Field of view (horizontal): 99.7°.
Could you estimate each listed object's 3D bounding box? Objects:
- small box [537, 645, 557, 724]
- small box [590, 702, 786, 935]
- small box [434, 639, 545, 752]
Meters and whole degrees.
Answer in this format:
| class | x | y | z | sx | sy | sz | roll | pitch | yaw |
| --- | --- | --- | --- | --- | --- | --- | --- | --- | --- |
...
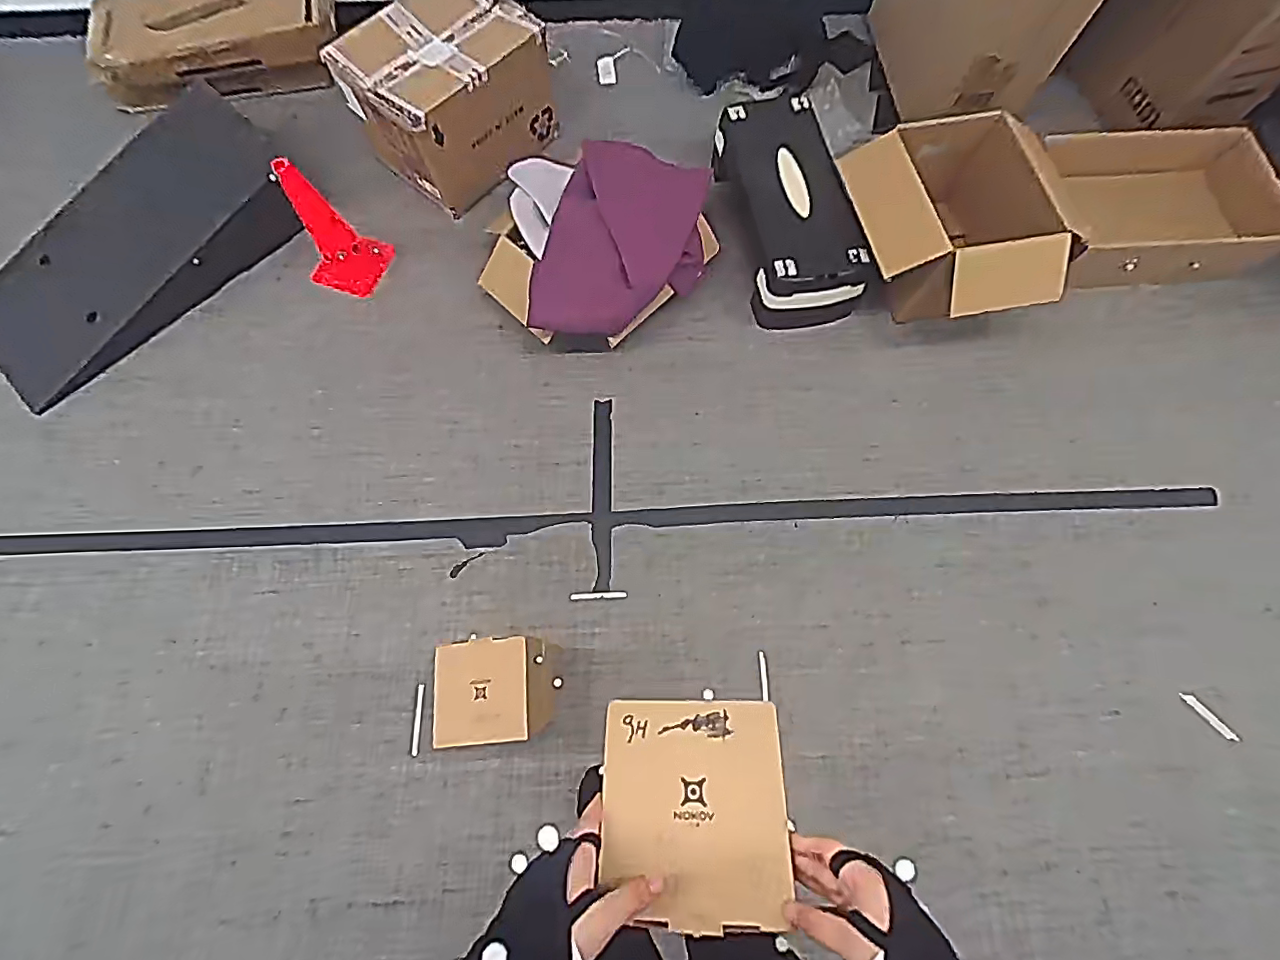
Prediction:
| class | x | y | z | sx | sy | sz | roll | pitch | yaw |
| --- | --- | --- | --- | --- | --- | --- | --- | --- | --- |
| small box | -0.282 | 0.455 | 1.185 | 0.179 | 0.176 | 0.168 | -3 | 71 | -1 |
| small box | 0.051 | 0.334 | 0.554 | 0.168 | 0.176 | 0.179 | -2 | 58 | 6 |
| small box | -0.279 | 0.405 | 1.031 | 0.168 | 0.176 | 0.179 | -6 | 72 | 0 |
